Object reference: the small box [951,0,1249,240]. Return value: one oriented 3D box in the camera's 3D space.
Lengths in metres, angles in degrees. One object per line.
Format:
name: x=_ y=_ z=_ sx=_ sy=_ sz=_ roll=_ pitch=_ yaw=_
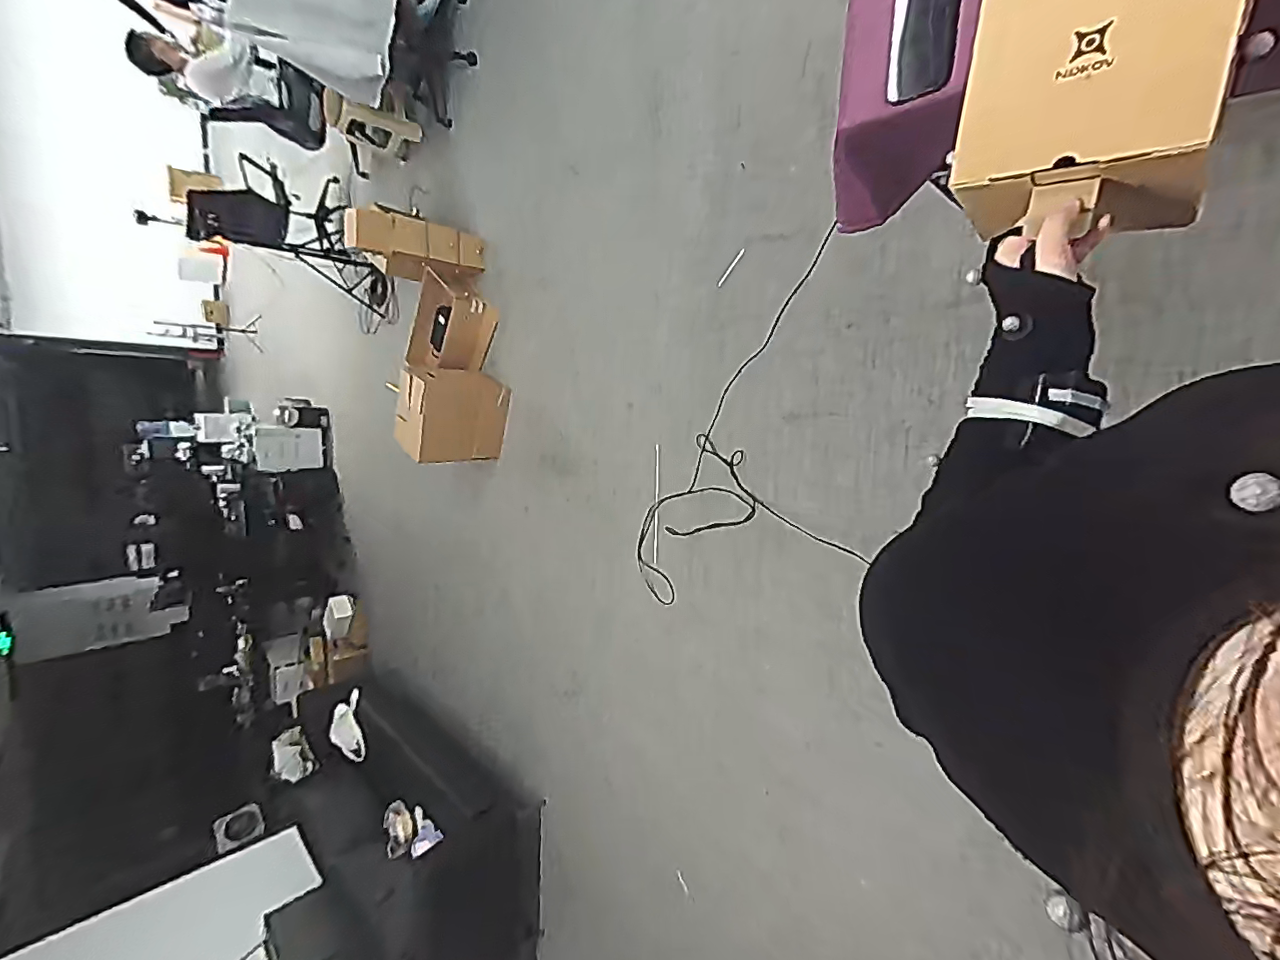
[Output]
small box: x=0.398 y=-0.332 z=0.474 sx=0.168 sy=0.176 sz=0.179 roll=14 pitch=101 yaw=41
